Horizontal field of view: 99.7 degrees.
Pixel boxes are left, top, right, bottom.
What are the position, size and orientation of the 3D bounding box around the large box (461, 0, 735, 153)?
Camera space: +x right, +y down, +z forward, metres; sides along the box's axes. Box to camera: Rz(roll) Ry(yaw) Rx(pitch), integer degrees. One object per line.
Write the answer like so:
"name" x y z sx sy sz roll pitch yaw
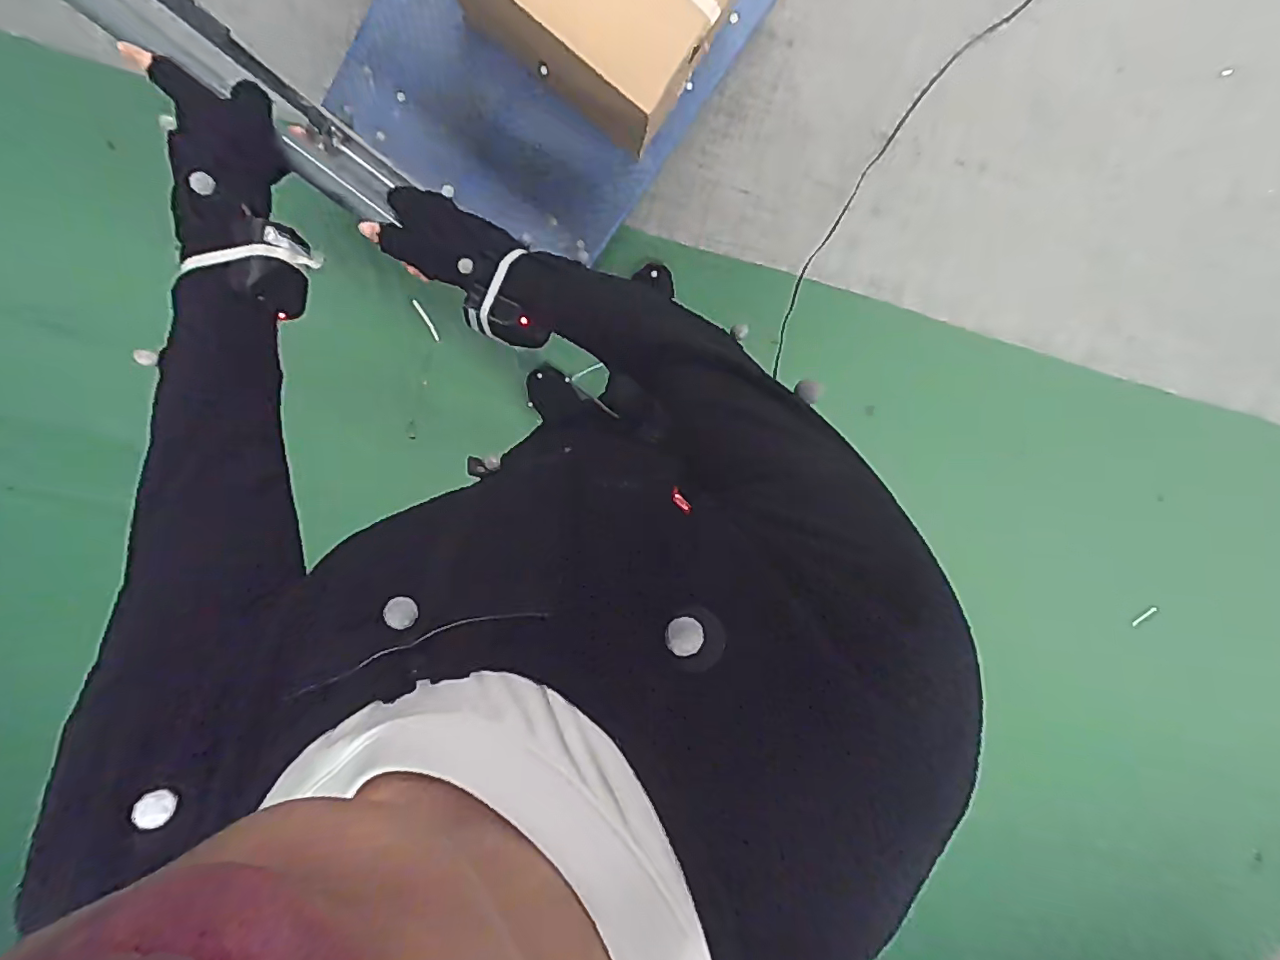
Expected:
"large box" -0.067 -0.824 0.870 0.408 0.320 0.320 34 104 -13
